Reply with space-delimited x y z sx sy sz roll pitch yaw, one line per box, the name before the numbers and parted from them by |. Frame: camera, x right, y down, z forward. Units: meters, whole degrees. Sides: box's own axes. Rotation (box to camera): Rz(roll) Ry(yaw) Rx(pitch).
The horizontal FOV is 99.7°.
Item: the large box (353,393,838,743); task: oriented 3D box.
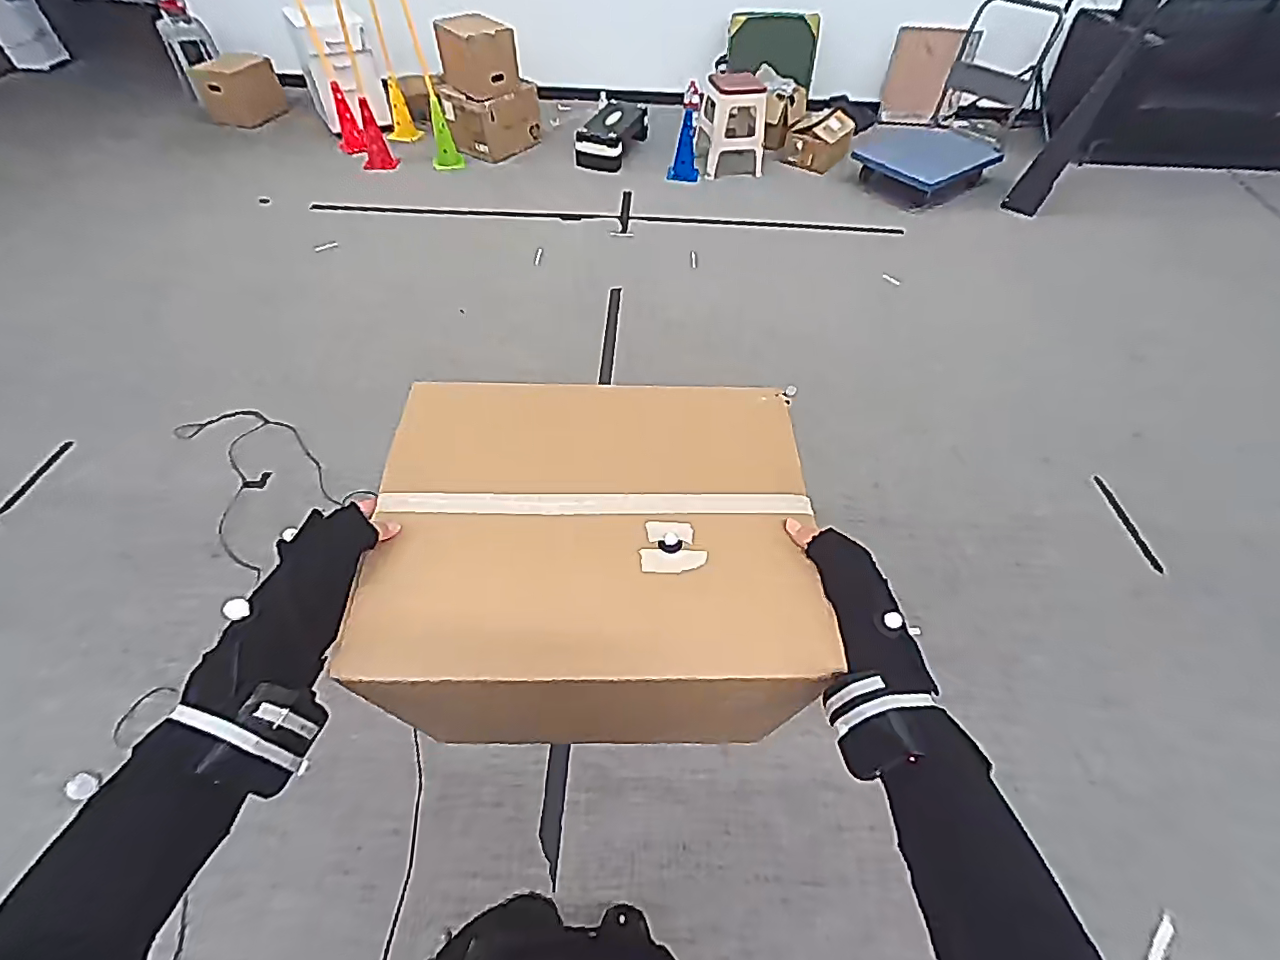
large box | -0.043 0.115 0.643 0.408 0.320 0.320 1 56 -2
